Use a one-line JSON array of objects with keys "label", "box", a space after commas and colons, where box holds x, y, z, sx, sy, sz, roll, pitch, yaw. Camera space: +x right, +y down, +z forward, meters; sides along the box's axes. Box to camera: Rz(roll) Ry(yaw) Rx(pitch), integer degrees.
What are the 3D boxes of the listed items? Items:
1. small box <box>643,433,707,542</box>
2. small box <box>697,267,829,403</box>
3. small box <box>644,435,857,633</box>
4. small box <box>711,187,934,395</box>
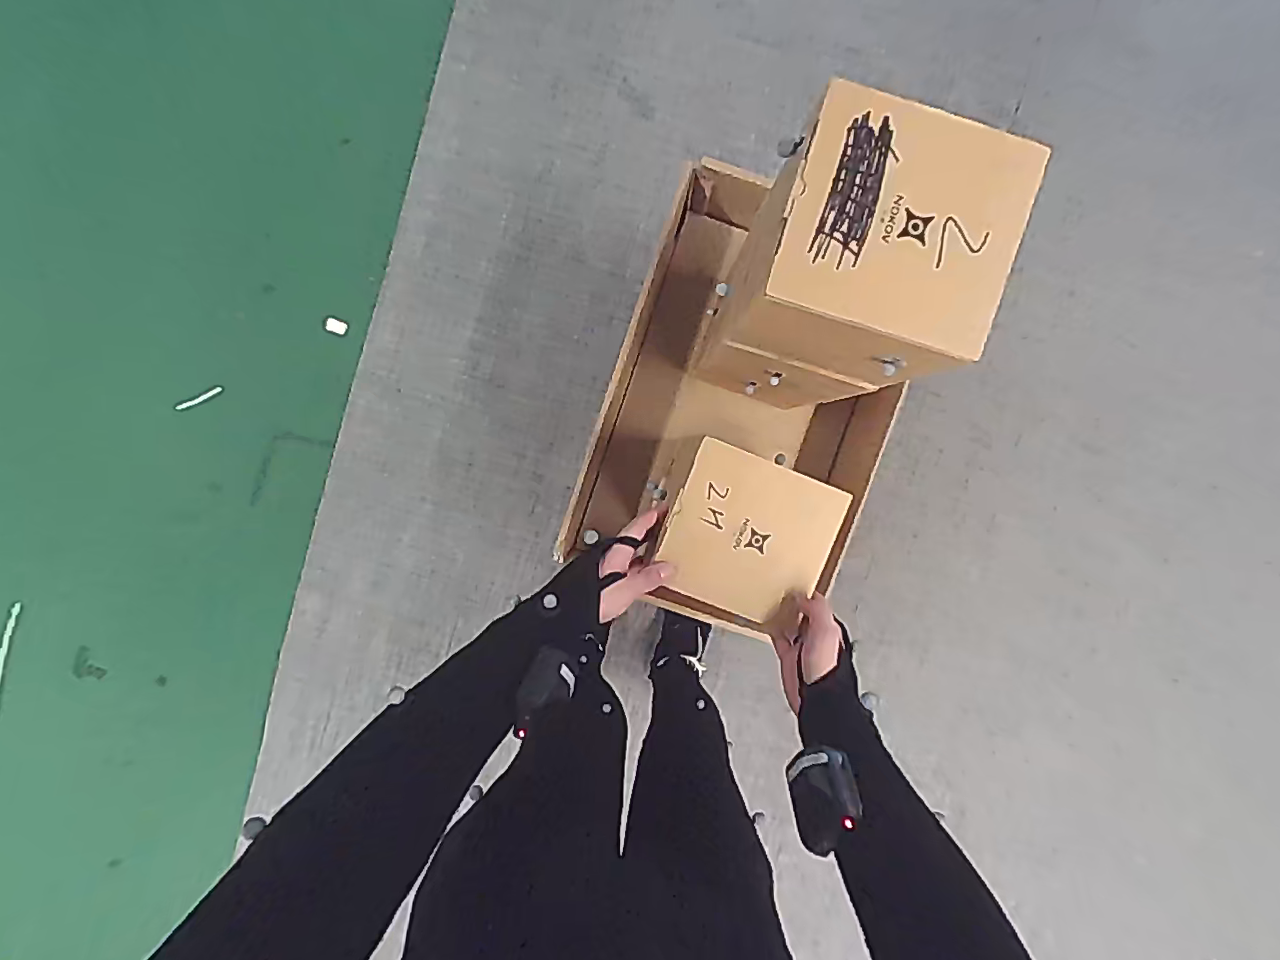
[{"label": "small box", "box": [0.112, 0.038, 0.815, 0.179, 0.176, 0.168, 21, 93, -1]}, {"label": "small box", "box": [0.199, -0.219, 0.802, 0.179, 0.176, 0.168, 19, 94, -2]}, {"label": "small box", "box": [0.116, 0.053, 0.646, 0.179, 0.176, 0.168, 22, 91, -4]}, {"label": "small box", "box": [0.198, -0.204, 0.639, 0.179, 0.176, 0.168, 18, 94, -1]}]
